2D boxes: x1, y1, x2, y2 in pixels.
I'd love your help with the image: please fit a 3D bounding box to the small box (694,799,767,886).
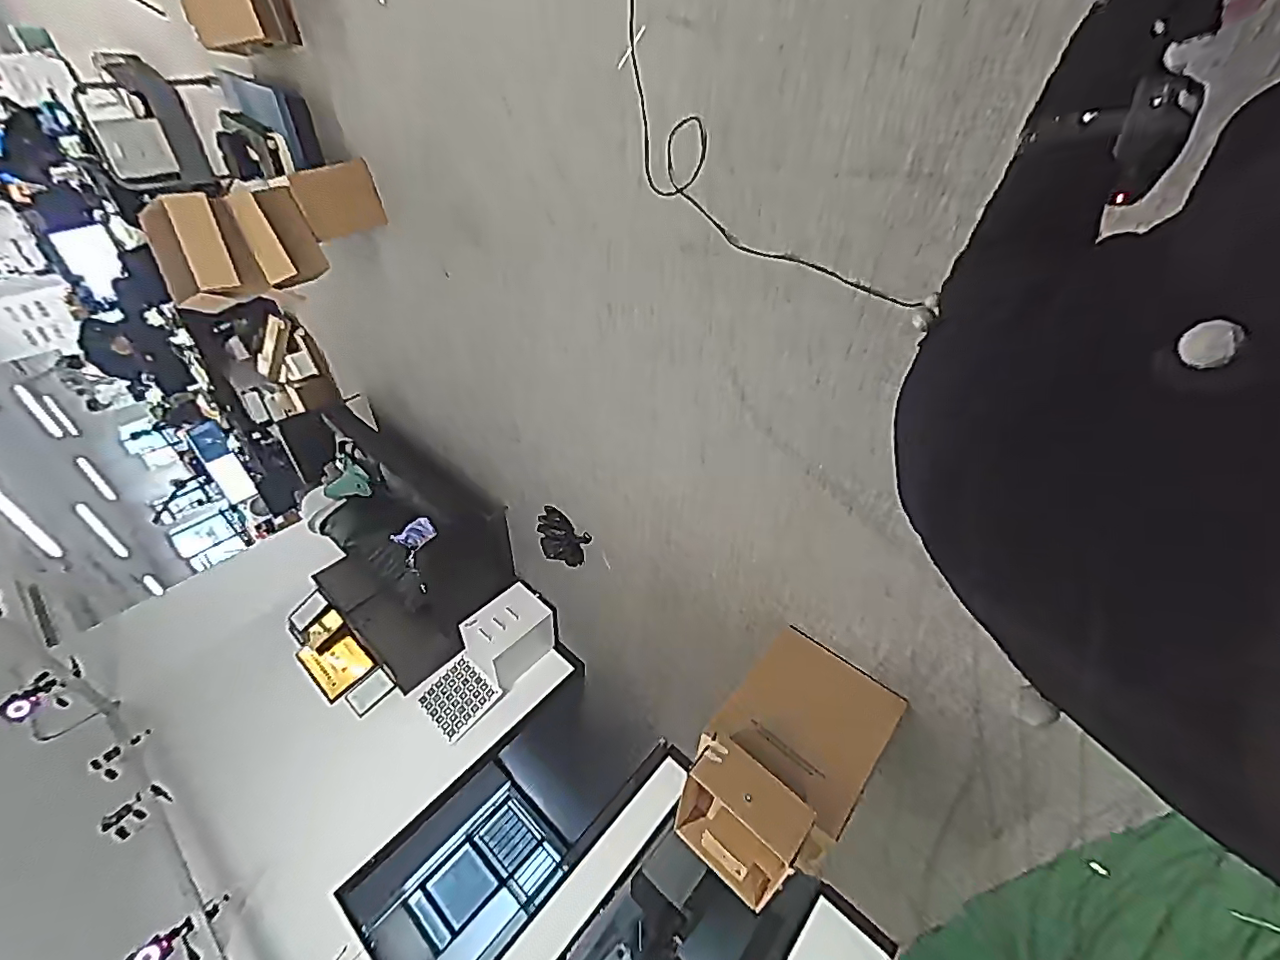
[{"bbox_3d":[0.311,1.242,1.870,0.179,0.176,0.168,32,141,31],"label":"small box"}]
